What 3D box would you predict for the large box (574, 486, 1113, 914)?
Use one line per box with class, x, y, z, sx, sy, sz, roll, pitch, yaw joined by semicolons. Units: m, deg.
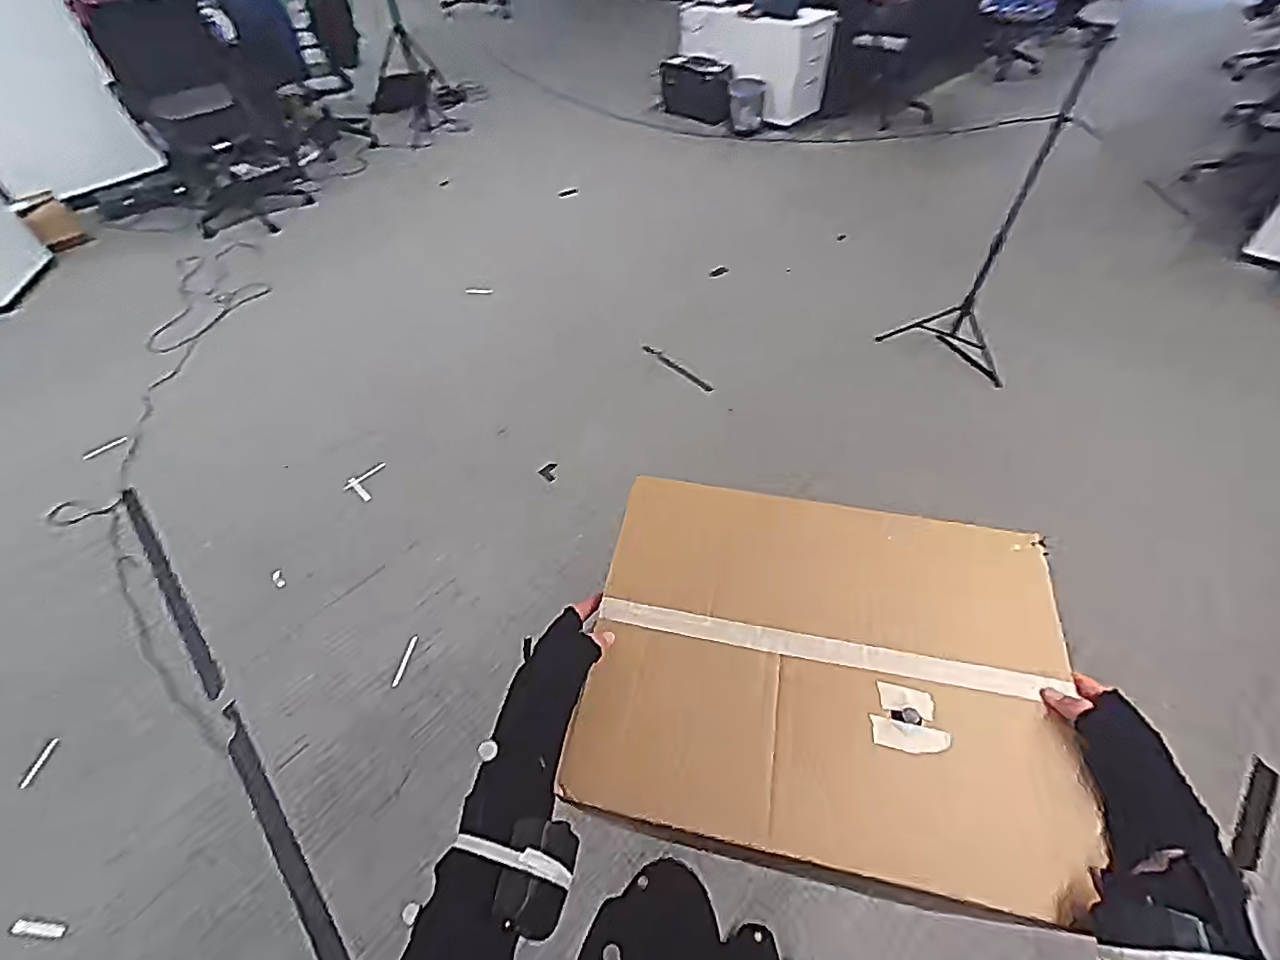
large box;0.173;0.240;0.609;0.408;0.320;0.320;9;57;9
